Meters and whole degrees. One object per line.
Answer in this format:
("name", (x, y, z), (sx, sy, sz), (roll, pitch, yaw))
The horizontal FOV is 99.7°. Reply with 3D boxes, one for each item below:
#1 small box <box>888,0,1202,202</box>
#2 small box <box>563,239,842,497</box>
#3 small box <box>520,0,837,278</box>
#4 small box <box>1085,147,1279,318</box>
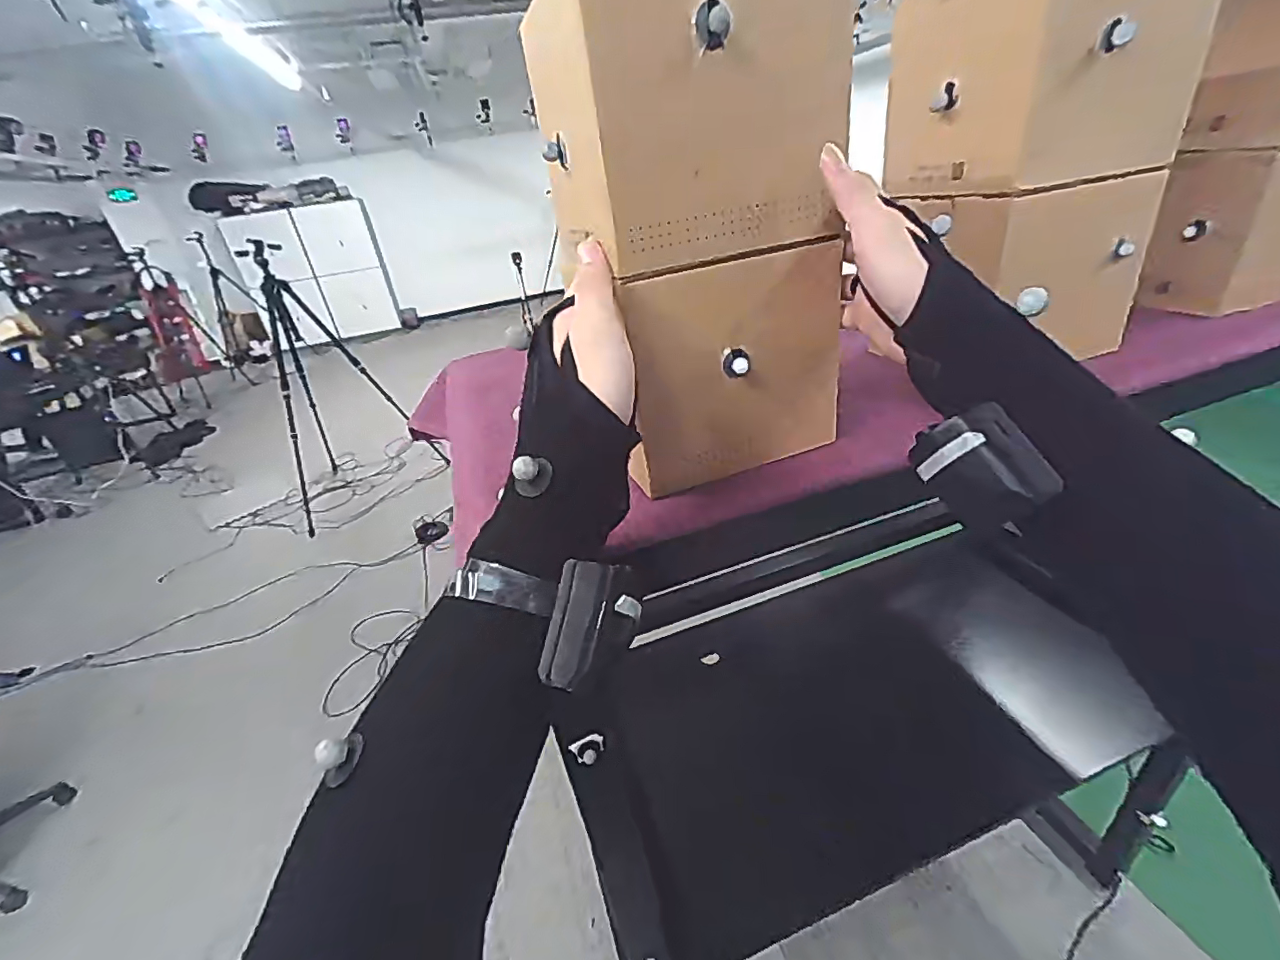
("small box", (0.350, -0.356, 0.489), (0.179, 0.176, 0.168), (-16, 30, -11))
("small box", (0.049, -0.109, 0.472), (0.179, 0.176, 0.168), (-18, 30, -14))
("small box", (0.027, -0.252, 0.394), (0.179, 0.176, 0.168), (-16, 30, -13))
("small box", (0.674, -0.299, 0.635), (0.179, 0.176, 0.168), (-15, 31, -10))
